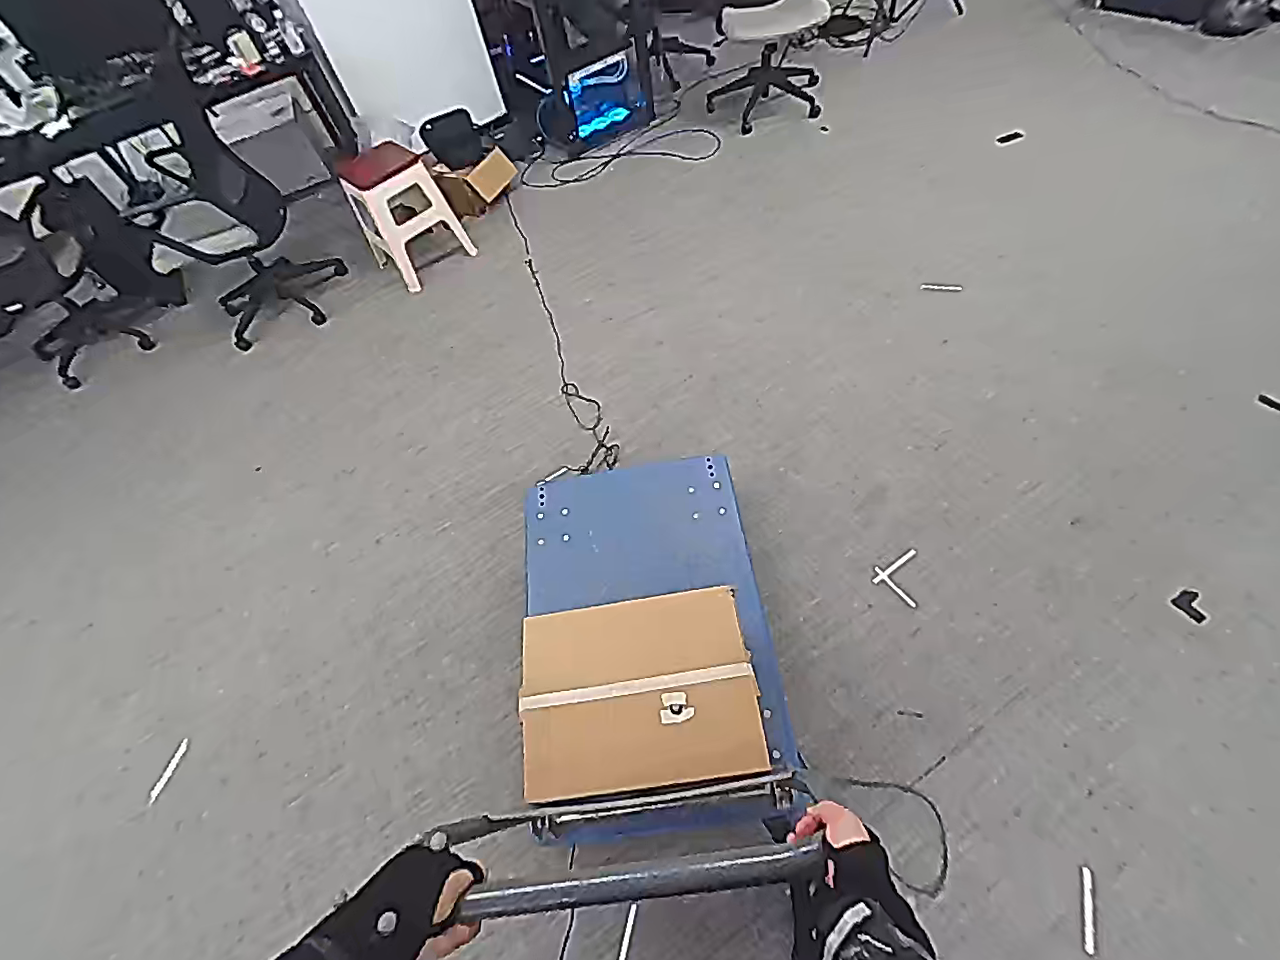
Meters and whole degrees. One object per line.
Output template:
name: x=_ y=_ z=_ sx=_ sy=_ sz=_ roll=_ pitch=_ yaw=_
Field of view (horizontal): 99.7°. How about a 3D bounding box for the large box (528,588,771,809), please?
large box: x=0.016 y=0.447 z=1.077 sx=0.408 sy=0.320 sz=0.320 roll=-10 pitch=58 yaw=3
